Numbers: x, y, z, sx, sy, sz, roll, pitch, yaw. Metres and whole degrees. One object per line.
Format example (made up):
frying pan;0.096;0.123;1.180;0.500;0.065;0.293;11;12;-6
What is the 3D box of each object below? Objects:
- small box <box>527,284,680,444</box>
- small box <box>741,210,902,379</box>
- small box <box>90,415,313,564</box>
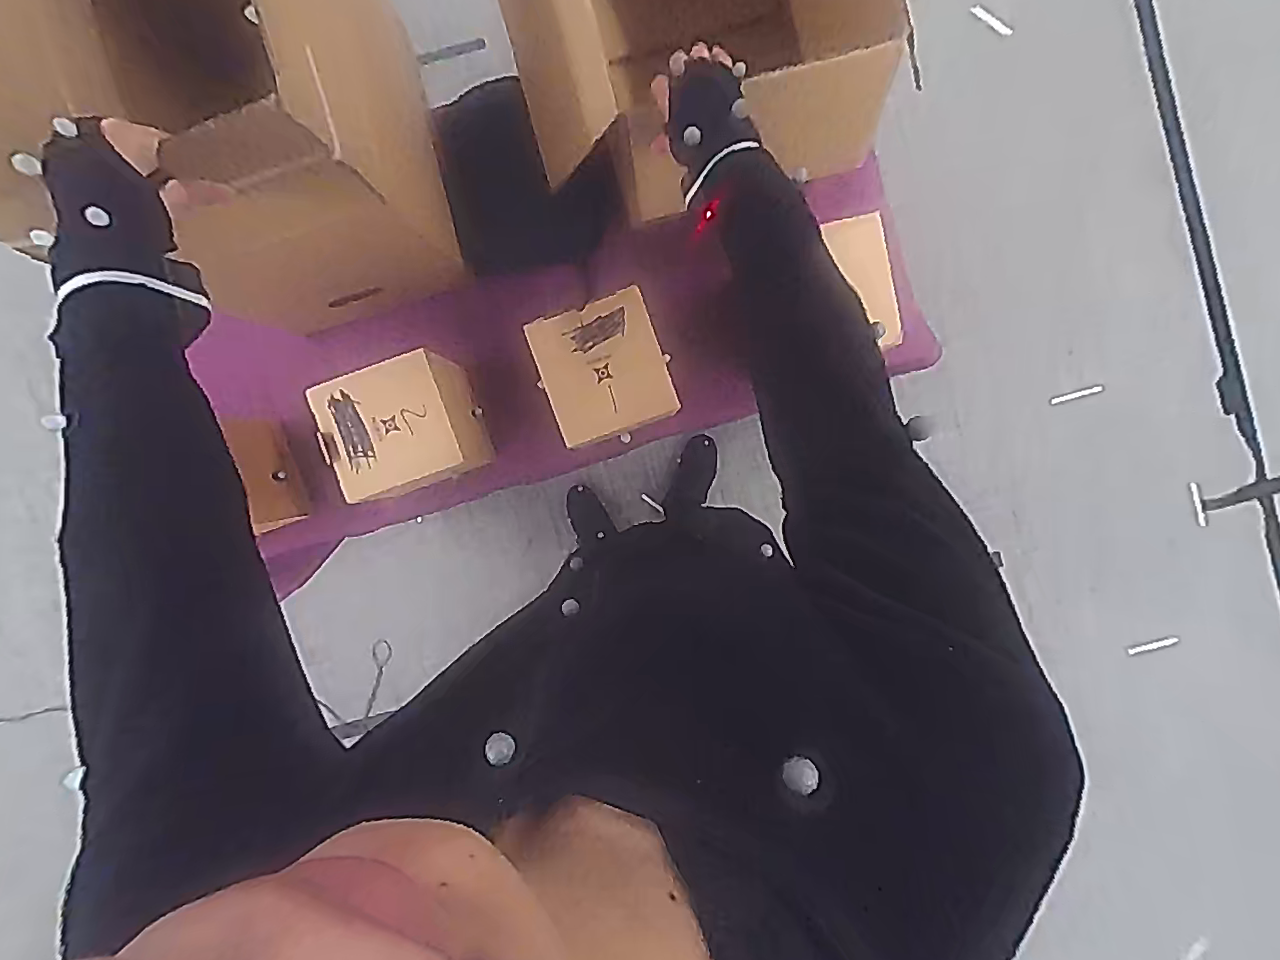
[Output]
small box;-0.048;-0.159;0.802;0.168;0.176;0.179;-19;94;3
small box;0.251;-0.257;0.788;0.168;0.176;0.179;-11;93;3
small box;-0.652;0.011;0.827;0.179;0.176;0.168;-21;93;1
